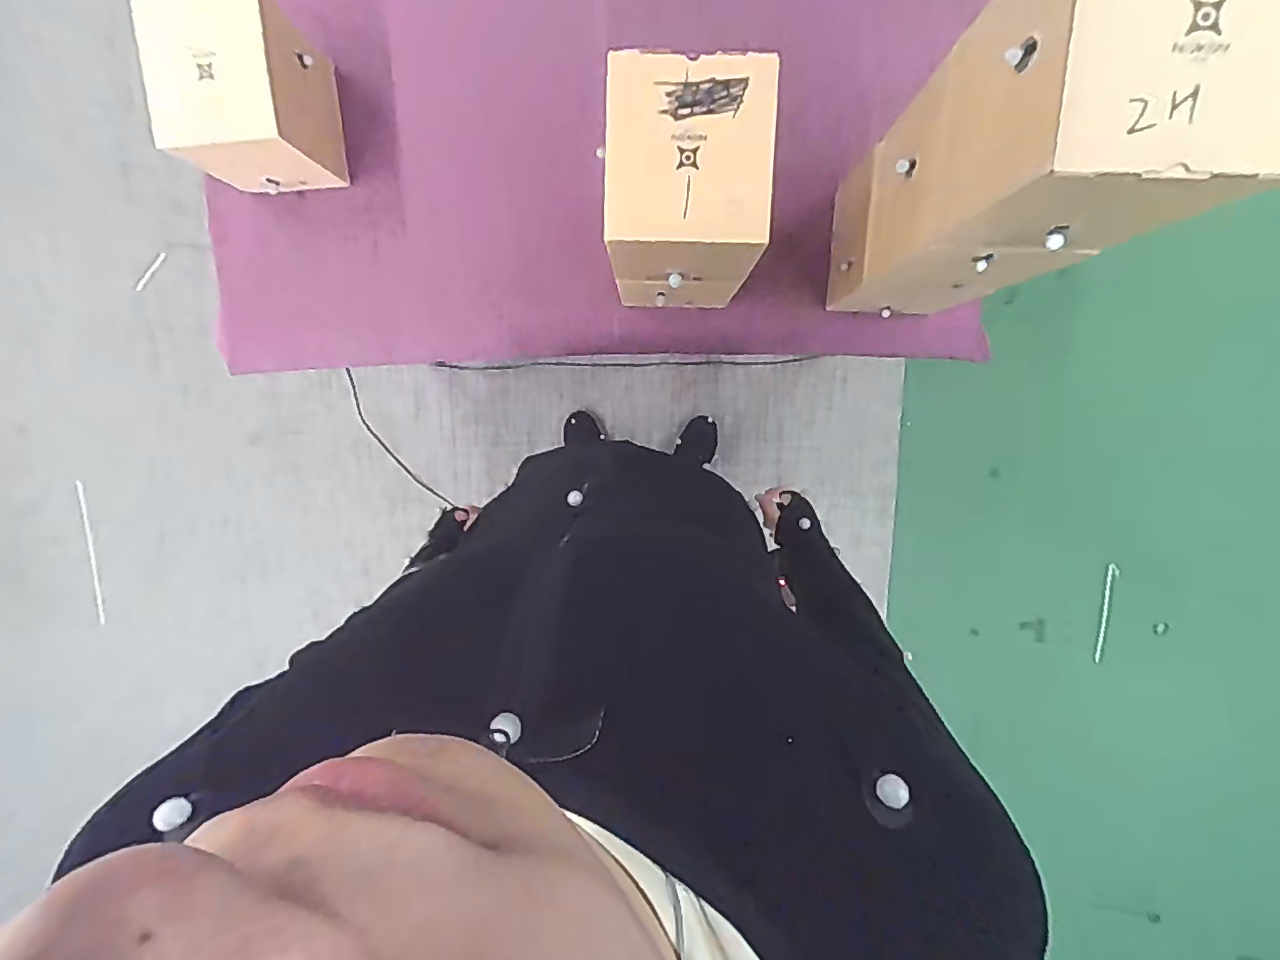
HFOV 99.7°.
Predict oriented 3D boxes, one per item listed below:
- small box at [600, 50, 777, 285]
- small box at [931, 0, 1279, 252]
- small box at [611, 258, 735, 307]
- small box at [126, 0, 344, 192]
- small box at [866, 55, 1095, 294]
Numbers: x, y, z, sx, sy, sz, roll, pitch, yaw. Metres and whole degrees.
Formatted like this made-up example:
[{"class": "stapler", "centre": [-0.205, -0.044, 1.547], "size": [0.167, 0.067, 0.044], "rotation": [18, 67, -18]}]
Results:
[{"class": "small box", "centre": [0.047, -0.330, 0.603], "size": [0.168, 0.176, 0.179], "rotation": [2, 98, 2]}, {"class": "small box", "centre": [0.357, -0.298, 0.429], "size": [0.168, 0.176, 0.179], "rotation": [3, 98, 2]}, {"class": "small box", "centre": [0.050, -0.348, 0.766], "size": [0.168, 0.176, 0.179], "rotation": [2, 97, 2]}, {"class": "small box", "centre": [-0.546, -0.529, 0.755], "size": [0.168, 0.176, 0.179], "rotation": [-3, 99, 2]}, {"class": "small box", "centre": [0.364, -0.316, 0.592], "size": [0.168, 0.176, 0.179], "rotation": [3, 97, 2]}]
